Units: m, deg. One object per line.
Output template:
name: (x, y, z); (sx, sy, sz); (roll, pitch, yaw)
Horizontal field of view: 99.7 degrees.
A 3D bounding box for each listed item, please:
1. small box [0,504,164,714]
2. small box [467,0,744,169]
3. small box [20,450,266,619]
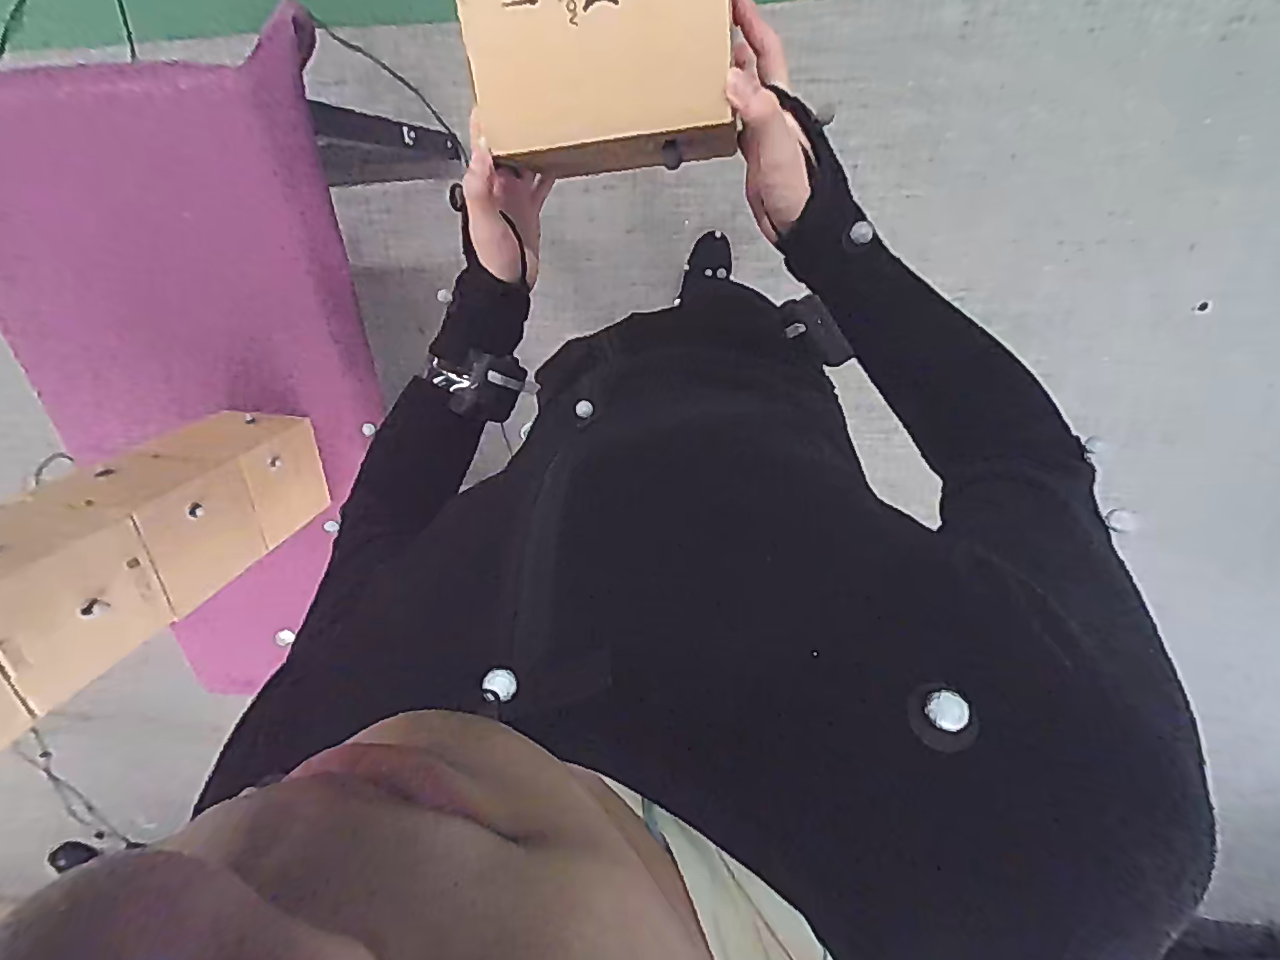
small box: (-0.713, 0.140, 0.630); (0.179, 0.176, 0.168); (5, 116, 6)
small box: (-0.012, -0.341, 0.402); (0.179, 0.176, 0.168); (0, 113, 12)
small box: (-0.686, 0.069, 0.774); (0.168, 0.176, 0.179); (5, 117, 6)
